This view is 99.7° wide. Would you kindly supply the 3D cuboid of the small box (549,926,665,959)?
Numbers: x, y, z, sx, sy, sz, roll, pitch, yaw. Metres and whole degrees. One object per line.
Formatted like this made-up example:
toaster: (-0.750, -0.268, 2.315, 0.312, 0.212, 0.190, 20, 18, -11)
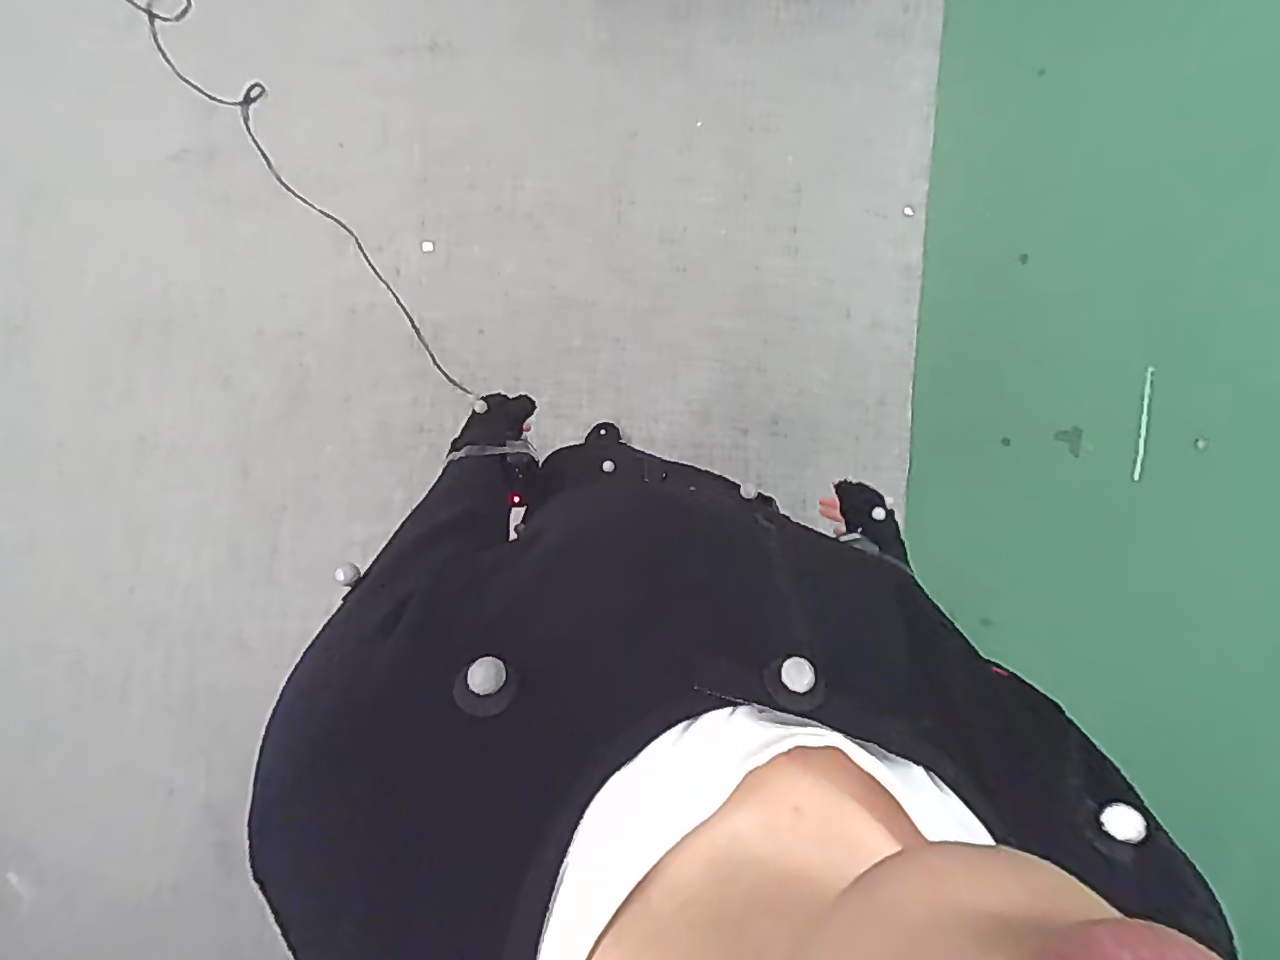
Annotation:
small box: (-0.050, 0.782, 0.767, 0.179, 0.176, 0.168, 0, 89, -4)
